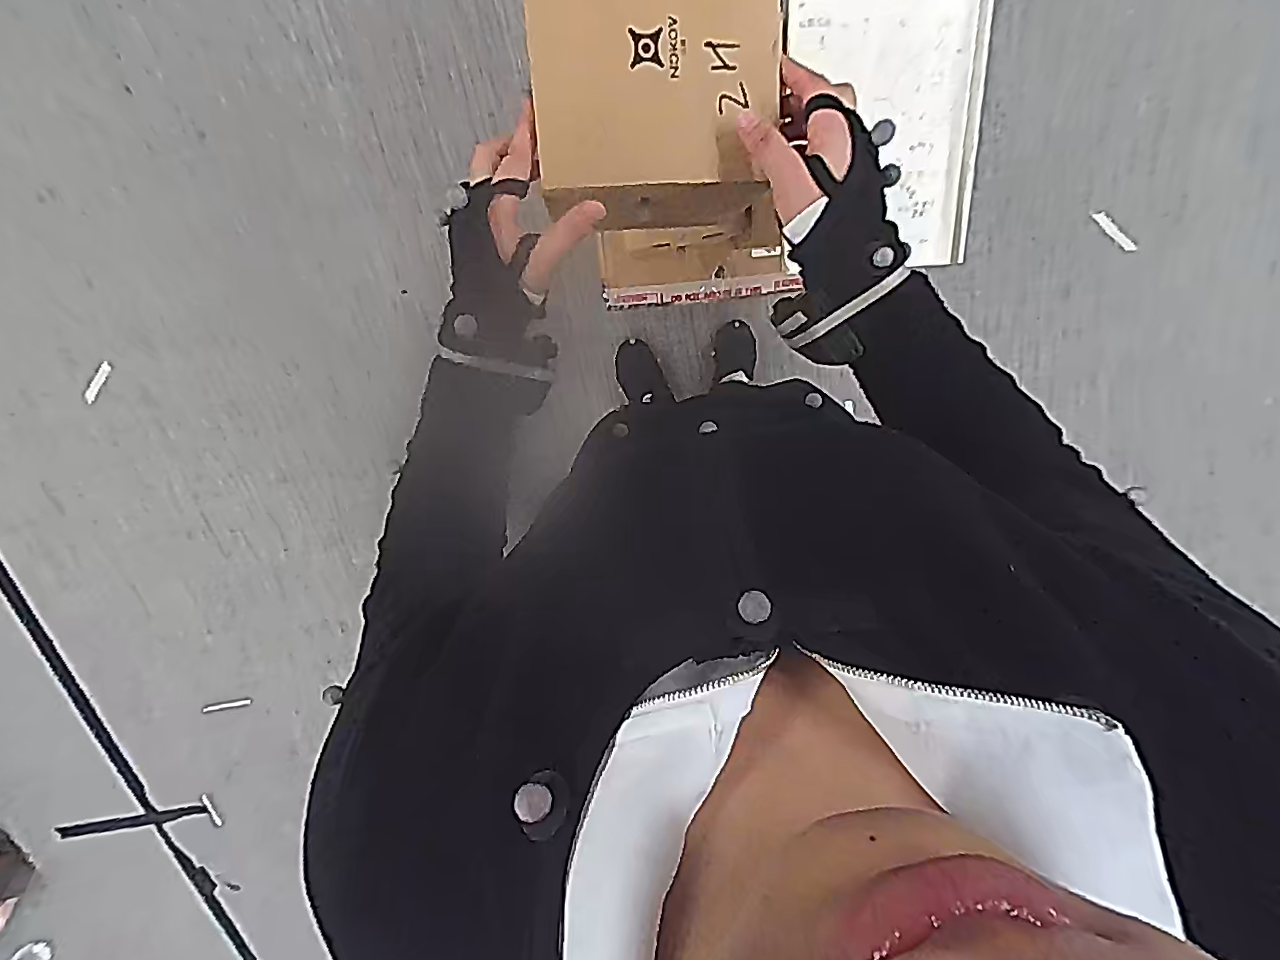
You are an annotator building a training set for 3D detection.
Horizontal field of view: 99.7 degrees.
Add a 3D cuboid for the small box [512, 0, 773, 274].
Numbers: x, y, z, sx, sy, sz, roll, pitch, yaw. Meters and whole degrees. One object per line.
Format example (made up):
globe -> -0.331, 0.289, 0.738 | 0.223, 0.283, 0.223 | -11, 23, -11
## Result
small box -> 0.000, -0.271, 0.452 | 0.179, 0.176, 0.168 | -5, 105, -5
